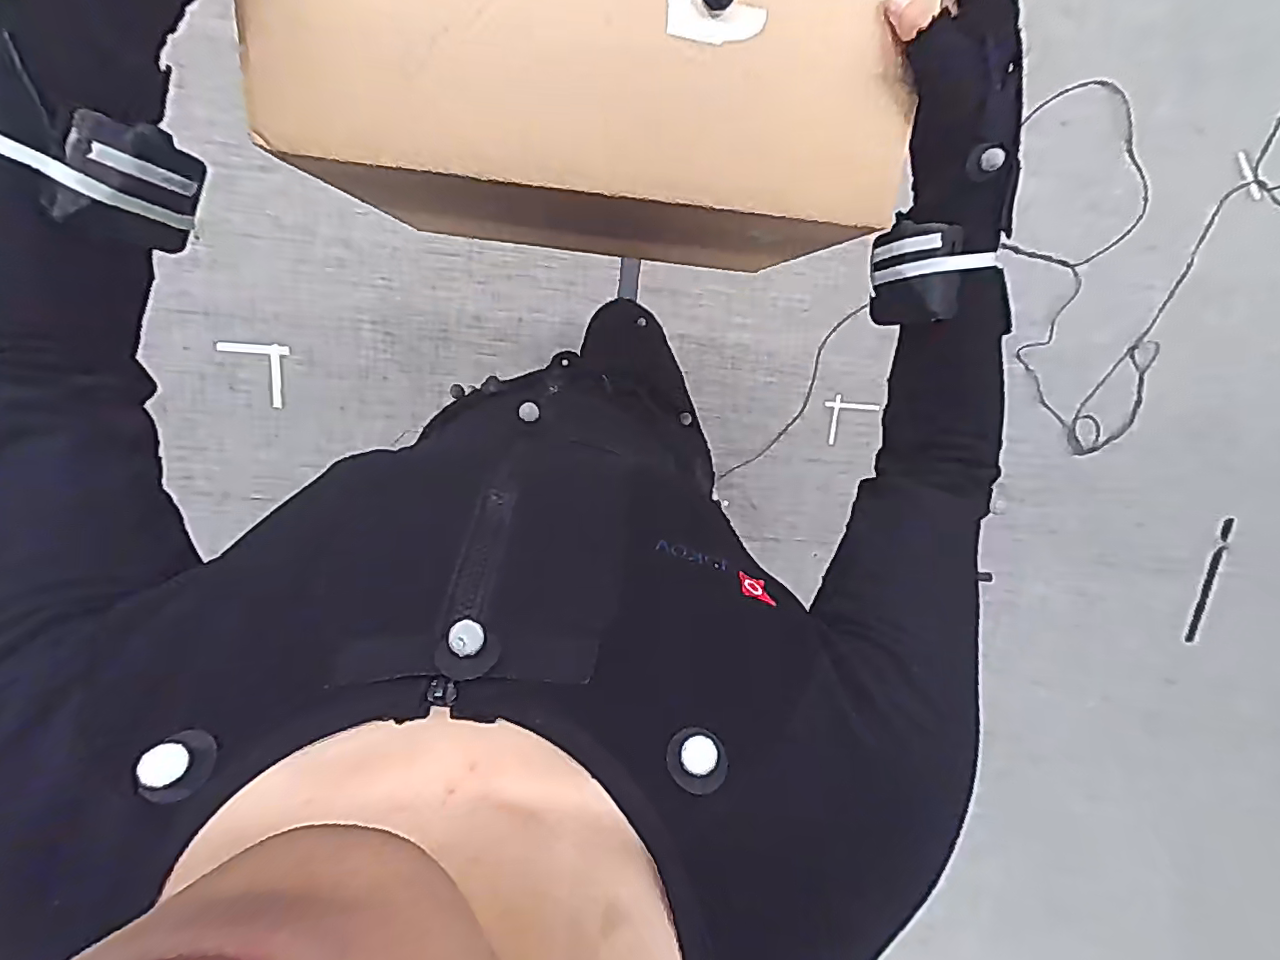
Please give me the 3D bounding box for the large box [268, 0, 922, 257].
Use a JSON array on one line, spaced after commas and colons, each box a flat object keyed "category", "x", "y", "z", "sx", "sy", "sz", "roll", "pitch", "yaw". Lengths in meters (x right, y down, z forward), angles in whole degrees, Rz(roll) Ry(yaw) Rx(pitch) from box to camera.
[{"category": "large box", "x": -0.028, "y": -0.388, "z": 0.458, "sx": 0.408, "sy": 0.320, "sz": 0.320, "roll": 4, "pitch": 107, "yaw": -6}]
